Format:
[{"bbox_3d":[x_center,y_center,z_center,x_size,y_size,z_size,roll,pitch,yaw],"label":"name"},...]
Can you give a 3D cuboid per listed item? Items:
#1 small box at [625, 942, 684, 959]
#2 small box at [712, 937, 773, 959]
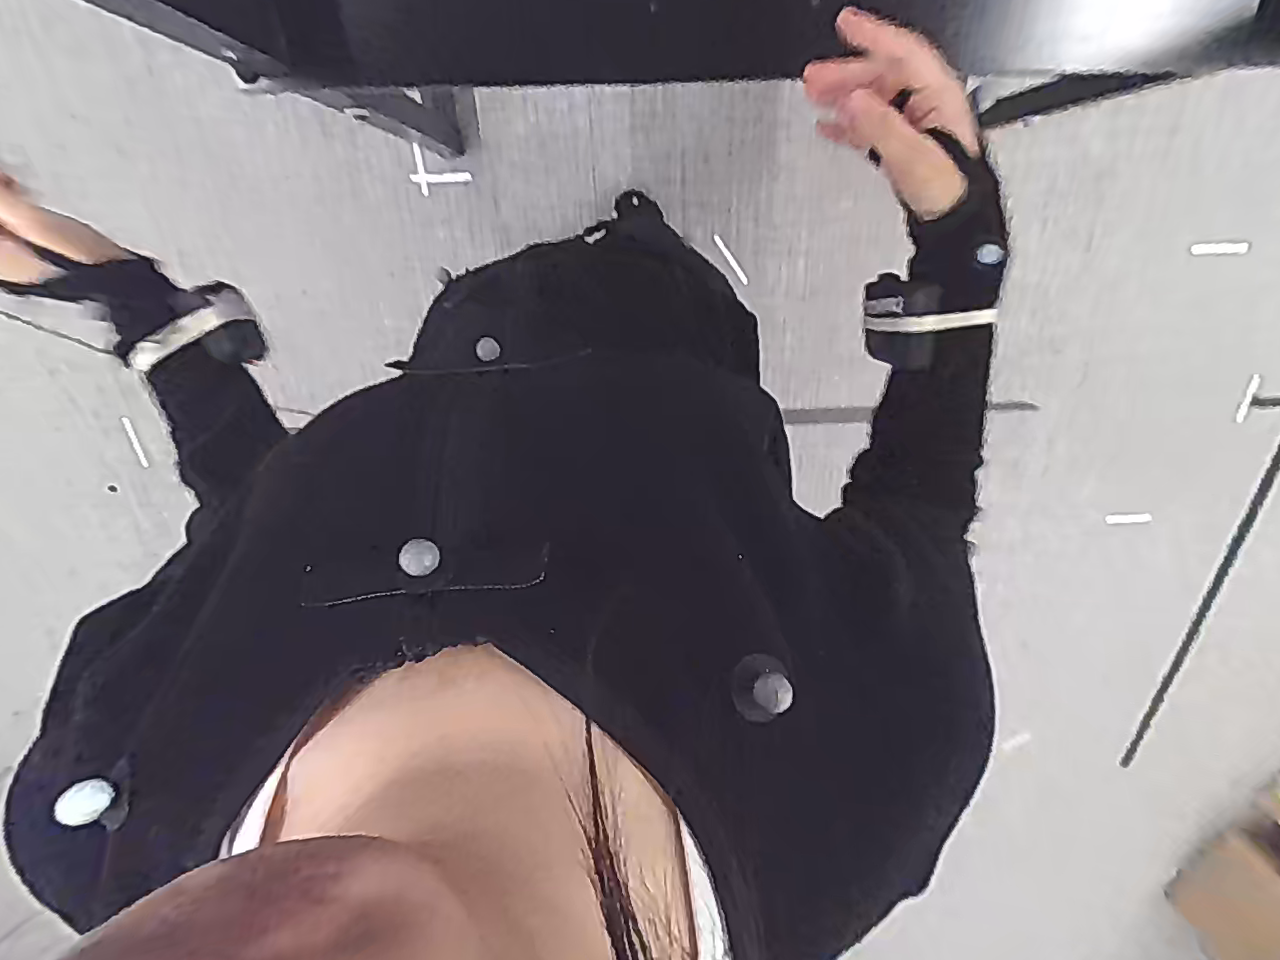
[{"bbox_3d":[0.045,1.425,1.505,0.168,0.176,0.179,-2,114,-5],"label":"small box"},{"bbox_3d":[0.299,1.436,1.527,0.168,0.176,0.179,-4,115,-2],"label":"small box"}]
